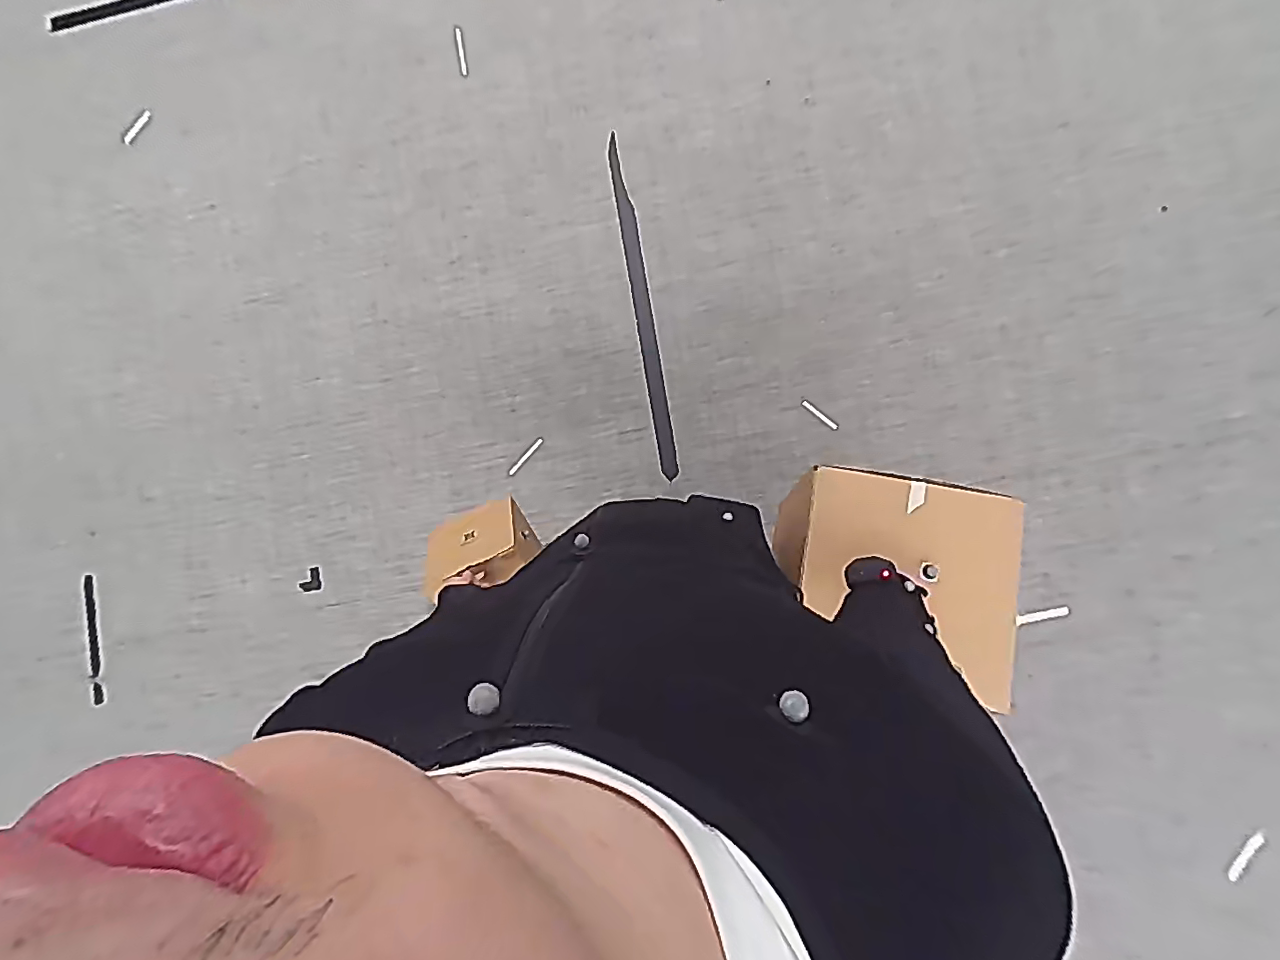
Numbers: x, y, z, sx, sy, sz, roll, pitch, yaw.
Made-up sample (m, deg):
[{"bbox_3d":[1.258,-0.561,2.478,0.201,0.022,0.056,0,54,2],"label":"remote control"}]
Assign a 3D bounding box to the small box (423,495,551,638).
[{"bbox_3d":[-0.275,0.165,0.996,0.168,0.179,0.176,-24,124,-2],"label":"small box"}]
